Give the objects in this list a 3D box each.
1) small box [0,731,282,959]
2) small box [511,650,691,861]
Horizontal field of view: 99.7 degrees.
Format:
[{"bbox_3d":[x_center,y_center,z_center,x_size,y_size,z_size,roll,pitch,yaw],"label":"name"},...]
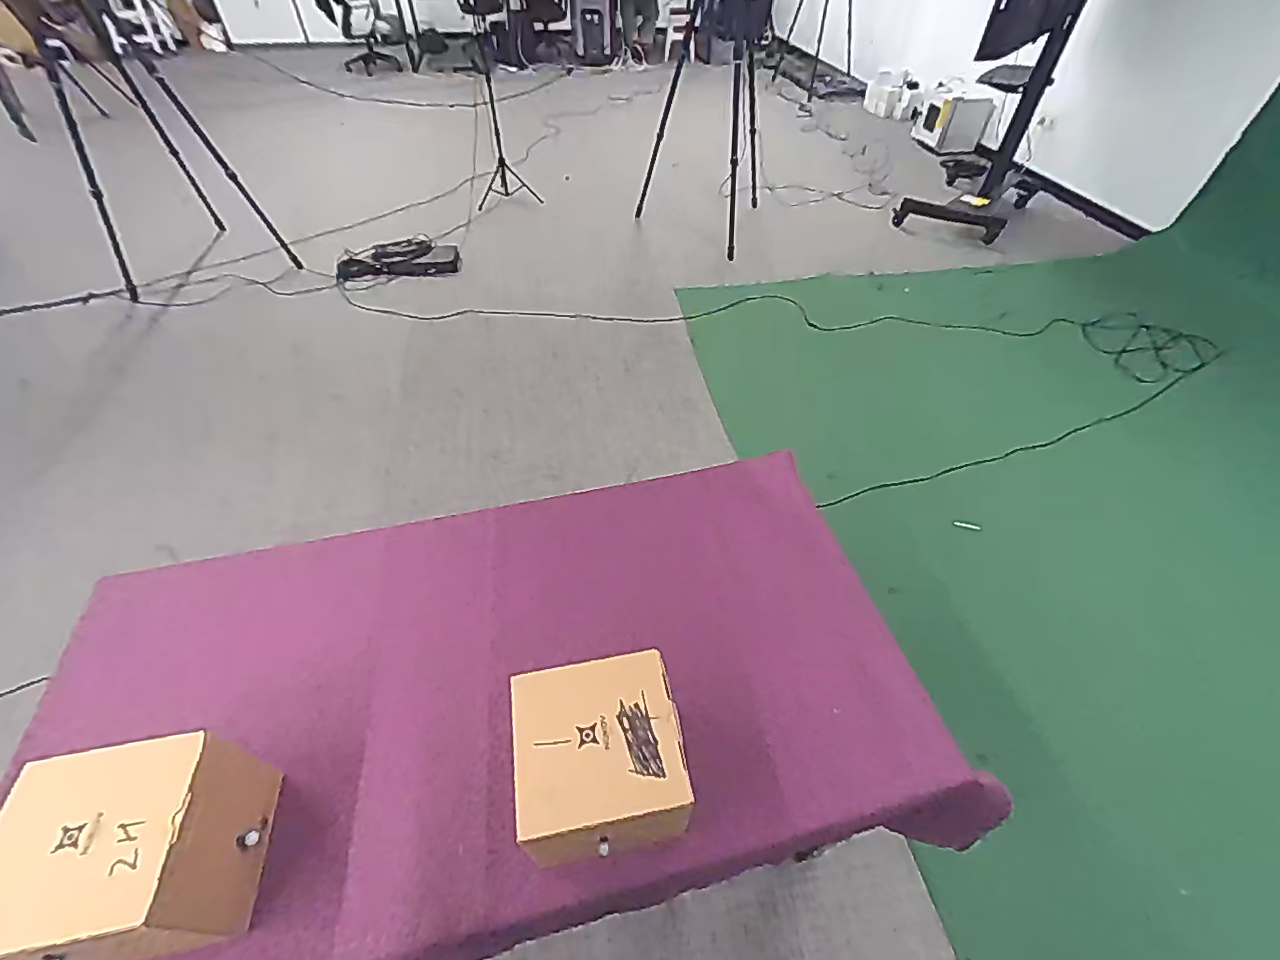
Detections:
[{"bbox_3d":[-0.527,0.391,0.571,0.179,0.176,0.168,-7,48,-8],"label":"small box"},{"bbox_3d":[-0.048,0.324,0.635,0.179,0.176,0.168,-8,47,-7],"label":"small box"}]
